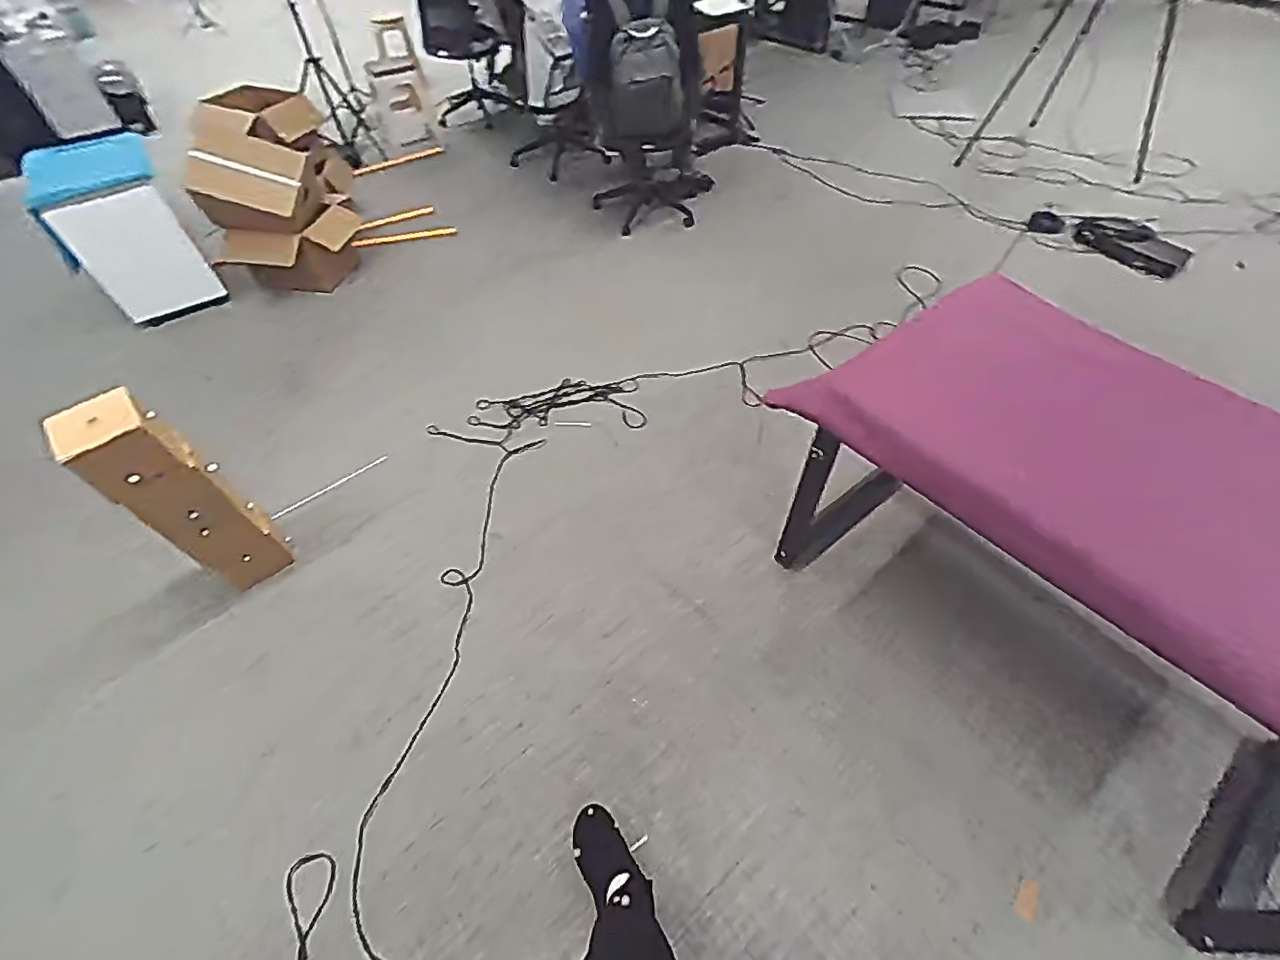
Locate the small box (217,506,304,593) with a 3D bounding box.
[{"bbox_3d":[-1.205,0.222,1.700,0.179,0.176,0.168,-34,57,-23],"label":"small box"}]

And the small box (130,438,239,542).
[{"bbox_3d":[-1.213,0.028,1.437,0.179,0.176,0.168,-36,58,-24],"label":"small box"}]

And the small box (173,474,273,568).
[{"bbox_3d":[-1.220,0.124,1.569,0.179,0.176,0.168,-34,58,-22],"label":"small box"}]

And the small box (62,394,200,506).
[{"bbox_3d":[-1.221,-0.070,1.306,0.168,0.176,0.179,-36,60,-23],"label":"small box"}]
